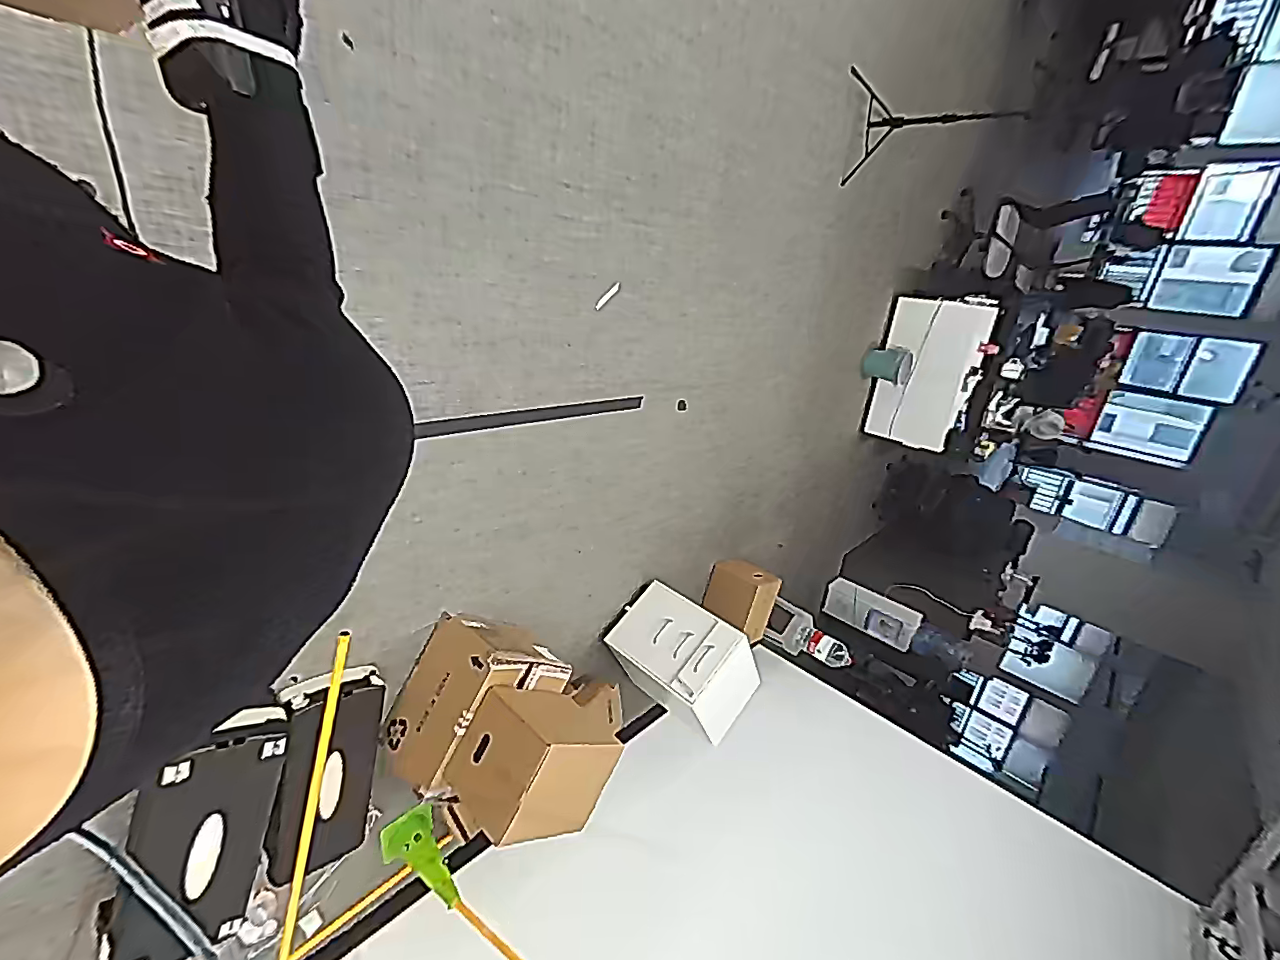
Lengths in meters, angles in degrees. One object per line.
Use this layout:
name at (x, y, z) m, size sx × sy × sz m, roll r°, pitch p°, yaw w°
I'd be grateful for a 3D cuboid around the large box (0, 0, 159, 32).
large box at (-0.532, -0.484, 0.257) m, size 0.408 × 0.320 × 0.320 m, roll -20°, pitch 127°, yaw -46°
